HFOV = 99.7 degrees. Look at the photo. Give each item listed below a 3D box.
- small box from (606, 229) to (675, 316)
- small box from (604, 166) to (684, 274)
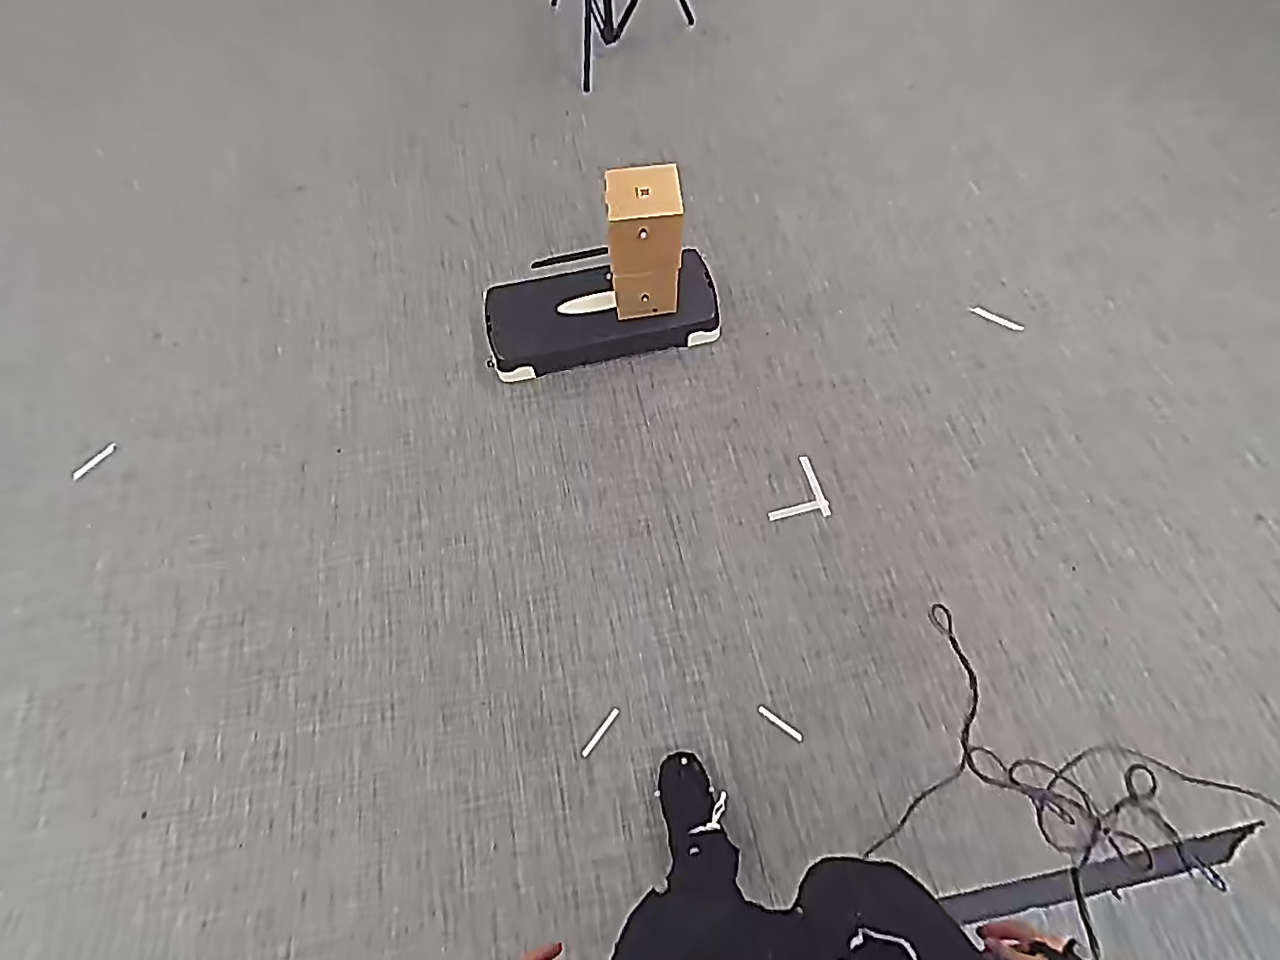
[{"bbox_3d":[0.004,-0.567,1.476,0.168,0.176,0.179,-8,67,-2],"label":"small box"},{"bbox_3d":[0.009,-0.632,1.327,0.179,0.176,0.168,-6,68,1],"label":"small box"}]
